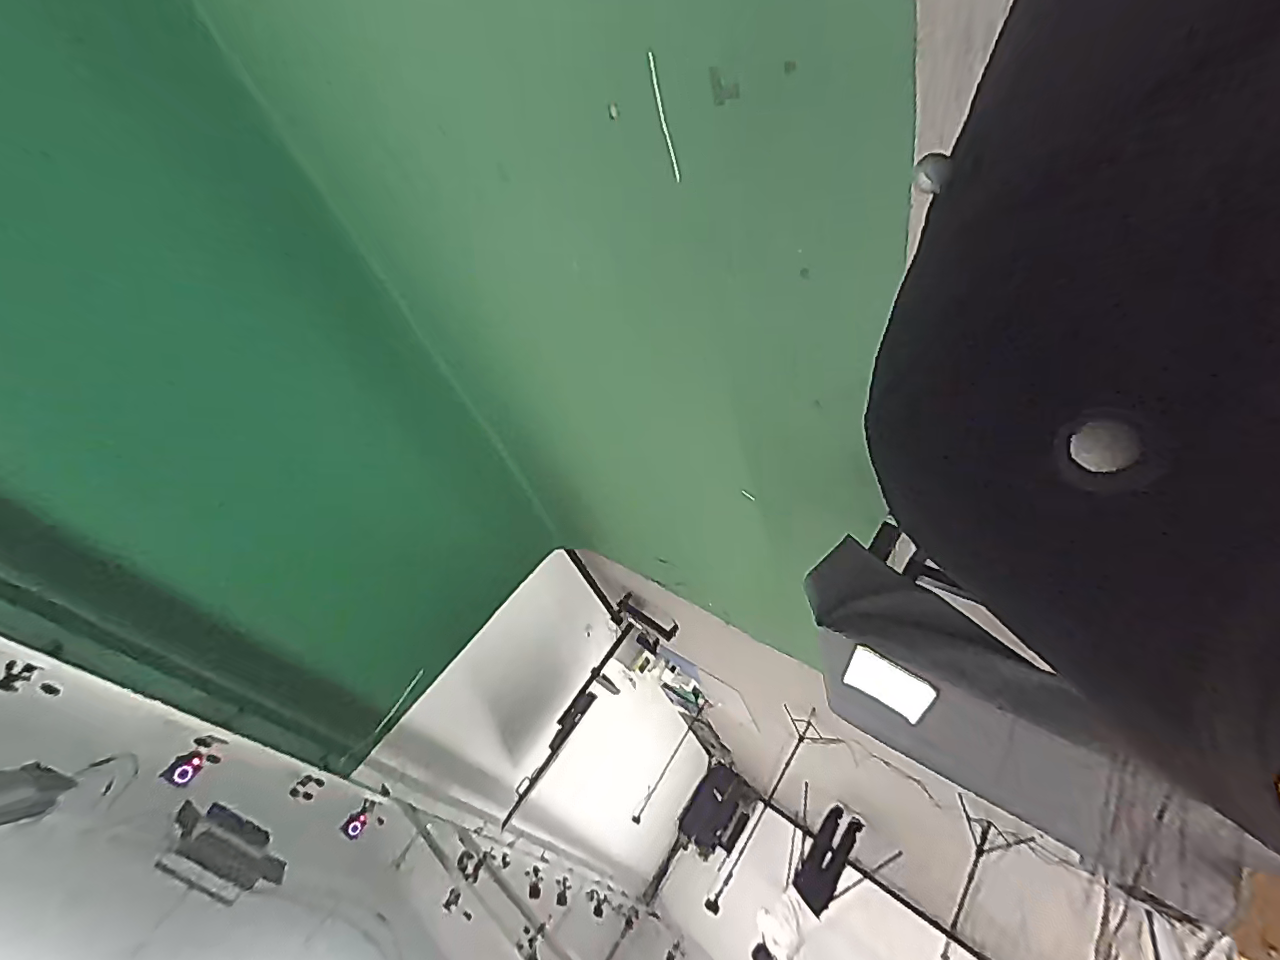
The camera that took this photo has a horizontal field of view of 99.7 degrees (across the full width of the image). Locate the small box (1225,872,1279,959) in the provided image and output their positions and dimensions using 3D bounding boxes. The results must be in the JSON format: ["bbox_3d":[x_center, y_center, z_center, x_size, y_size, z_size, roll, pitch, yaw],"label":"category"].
[{"bbox_3d":[1.186,0.853,0.962,0.179,0.176,0.168,12,143,48],"label":"small box"}]
